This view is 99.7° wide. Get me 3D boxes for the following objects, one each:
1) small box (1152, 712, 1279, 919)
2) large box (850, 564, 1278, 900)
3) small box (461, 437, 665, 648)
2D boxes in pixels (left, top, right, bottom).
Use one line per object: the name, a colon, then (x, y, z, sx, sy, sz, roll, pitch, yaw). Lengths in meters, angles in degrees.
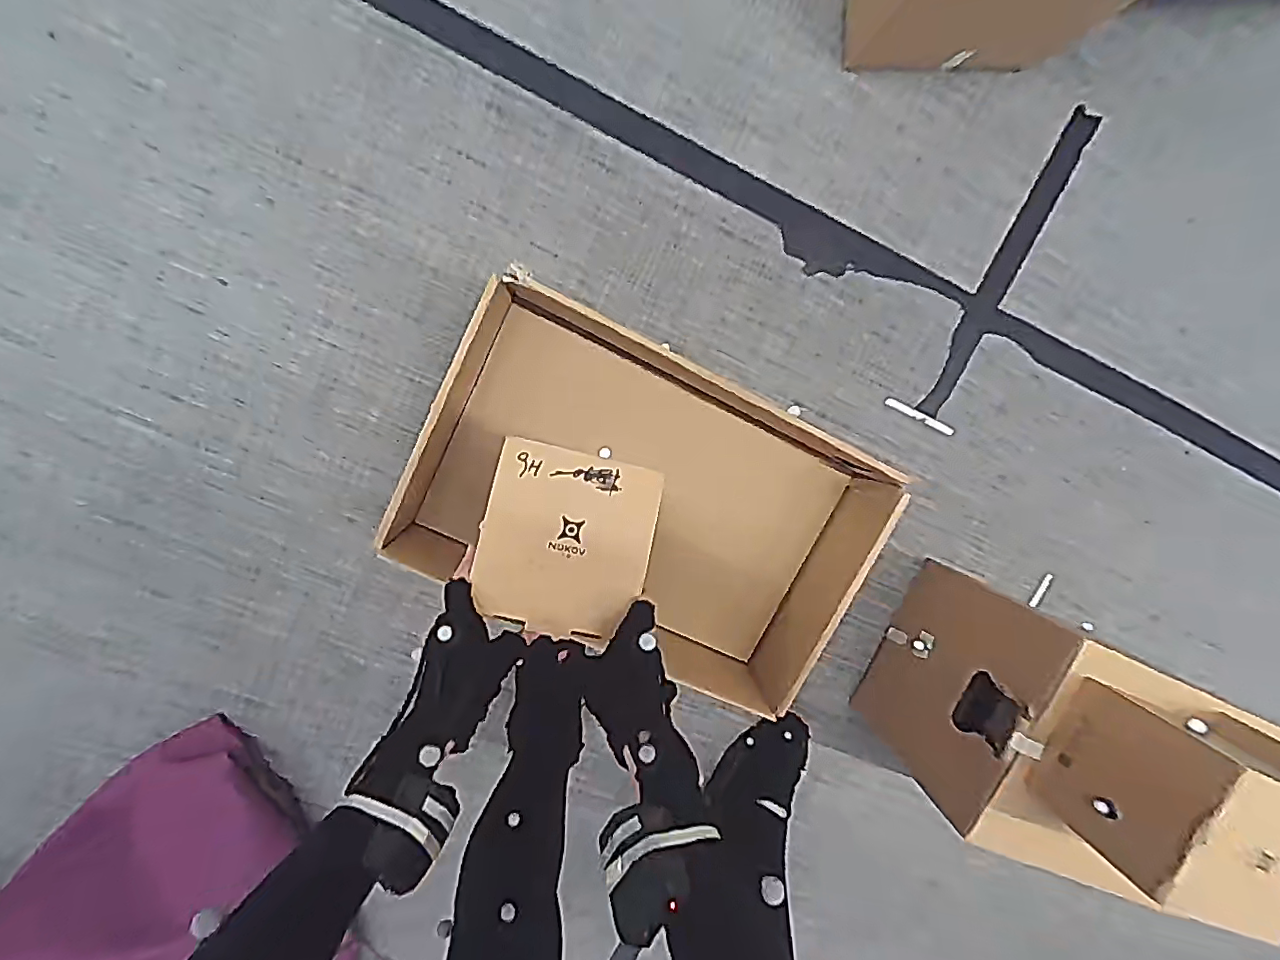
small box: (0.798, 0.428, 0.662, 0.168, 0.176, 0.179, 28, 94, -10)
large box: (0.641, 0.381, 0.885, 0.408, 0.320, 0.320, 23, 97, -11)
small box: (-0.084, 0.070, 0.600, 0.168, 0.176, 0.179, 14, 80, -9)
